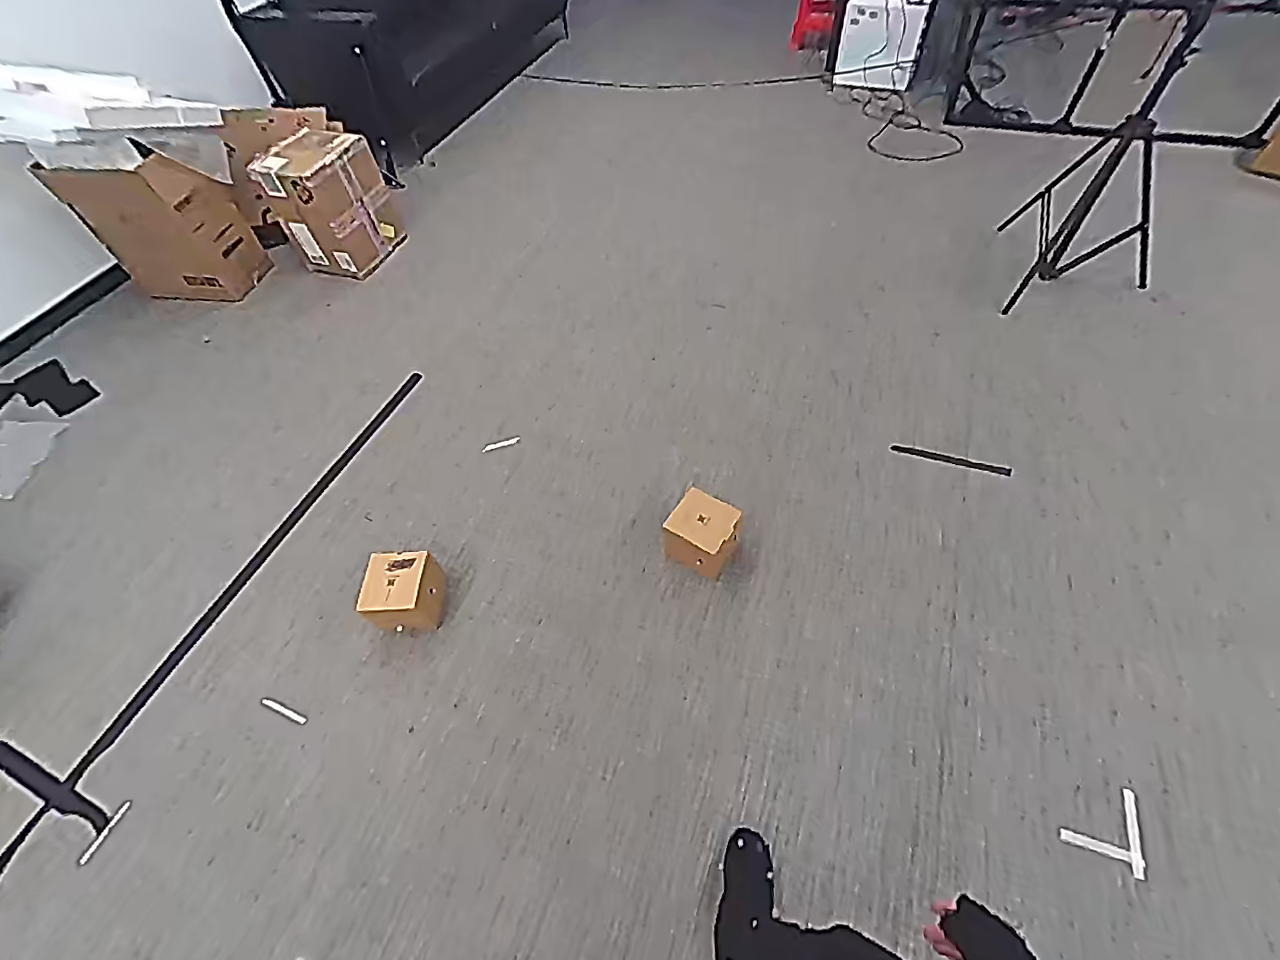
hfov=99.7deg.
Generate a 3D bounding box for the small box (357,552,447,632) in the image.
[{"bbox_3d":[-0.673,0.323,1.554,0.168,0.176,0.179,-3,55,3],"label":"small box"}]

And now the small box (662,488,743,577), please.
[{"bbox_3d":[0.184,0.161,1.594,0.179,0.176,0.168,27,60,23],"label":"small box"}]
